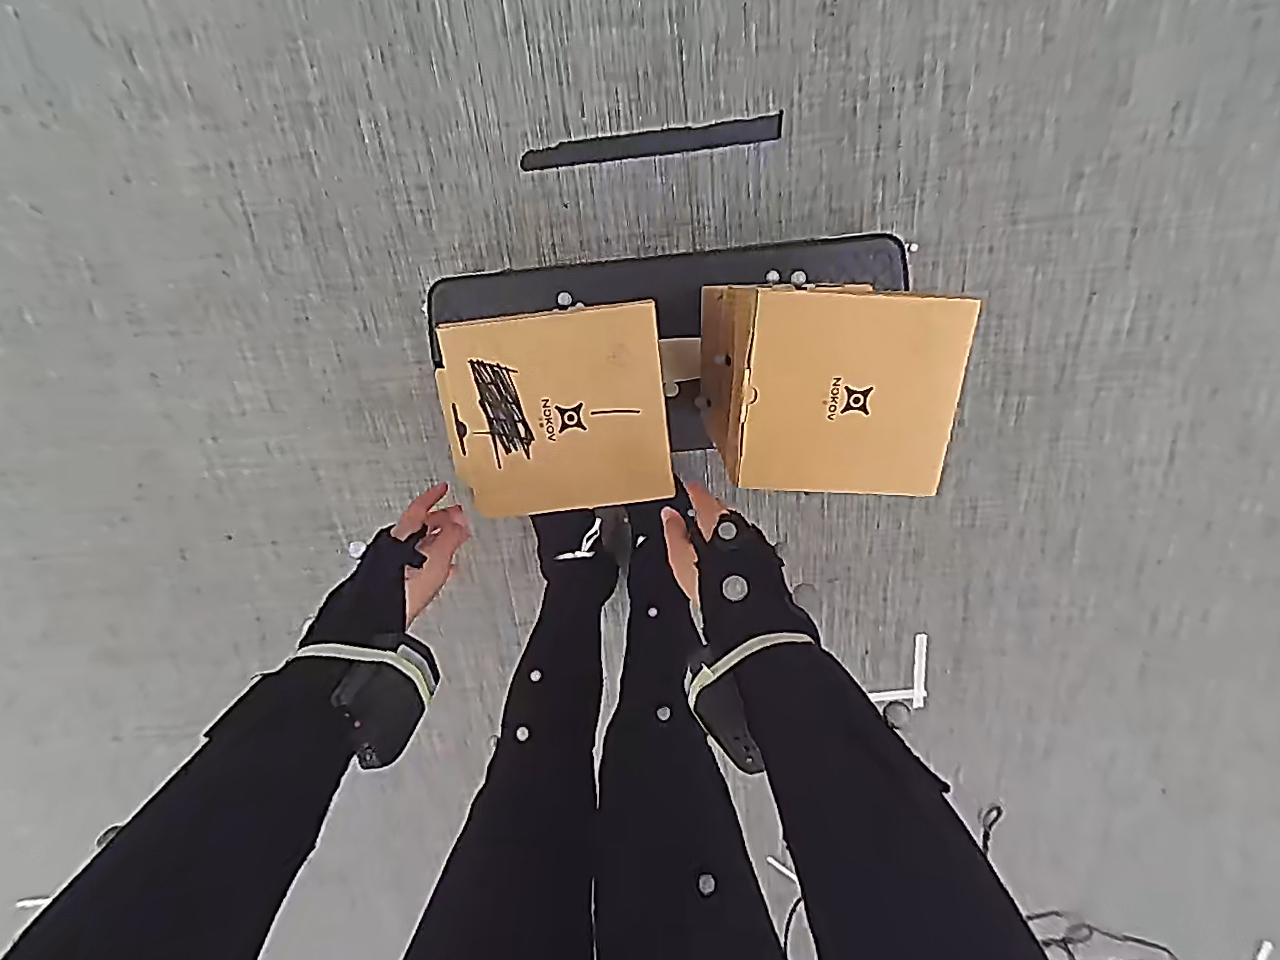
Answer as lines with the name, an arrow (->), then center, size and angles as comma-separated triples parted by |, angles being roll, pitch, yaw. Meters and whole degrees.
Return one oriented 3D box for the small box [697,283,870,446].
small box -> 0.162, -0.149, 0.669 | 0.168, 0.176, 0.179 | -1, 110, 1
